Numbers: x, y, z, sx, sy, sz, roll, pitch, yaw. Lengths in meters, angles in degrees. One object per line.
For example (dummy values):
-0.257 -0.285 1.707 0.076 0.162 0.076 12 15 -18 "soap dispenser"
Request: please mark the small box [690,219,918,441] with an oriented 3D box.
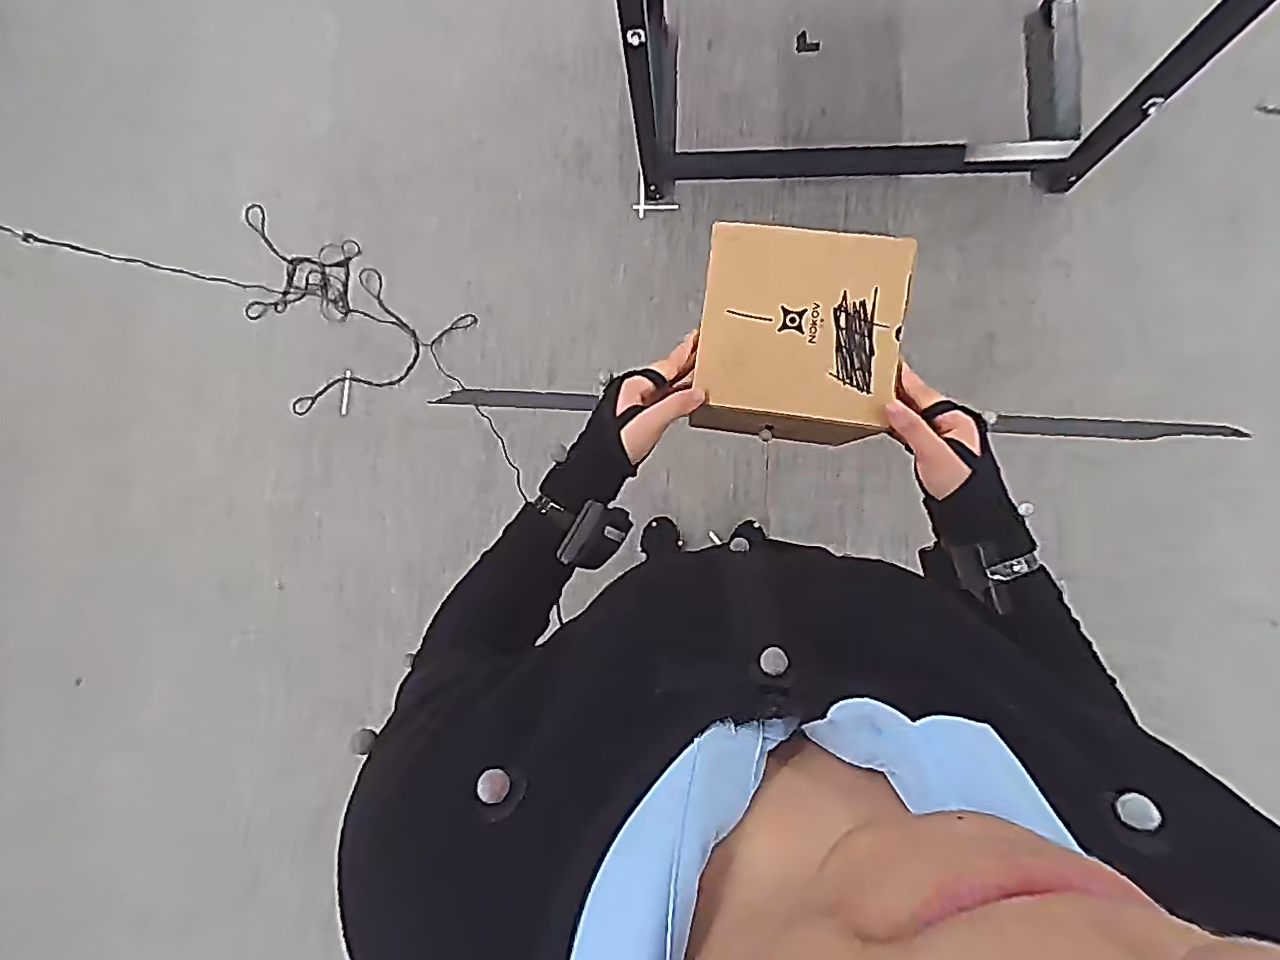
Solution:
0.149 -0.136 0.550 0.179 0.176 0.168 8 89 5 "small box"
